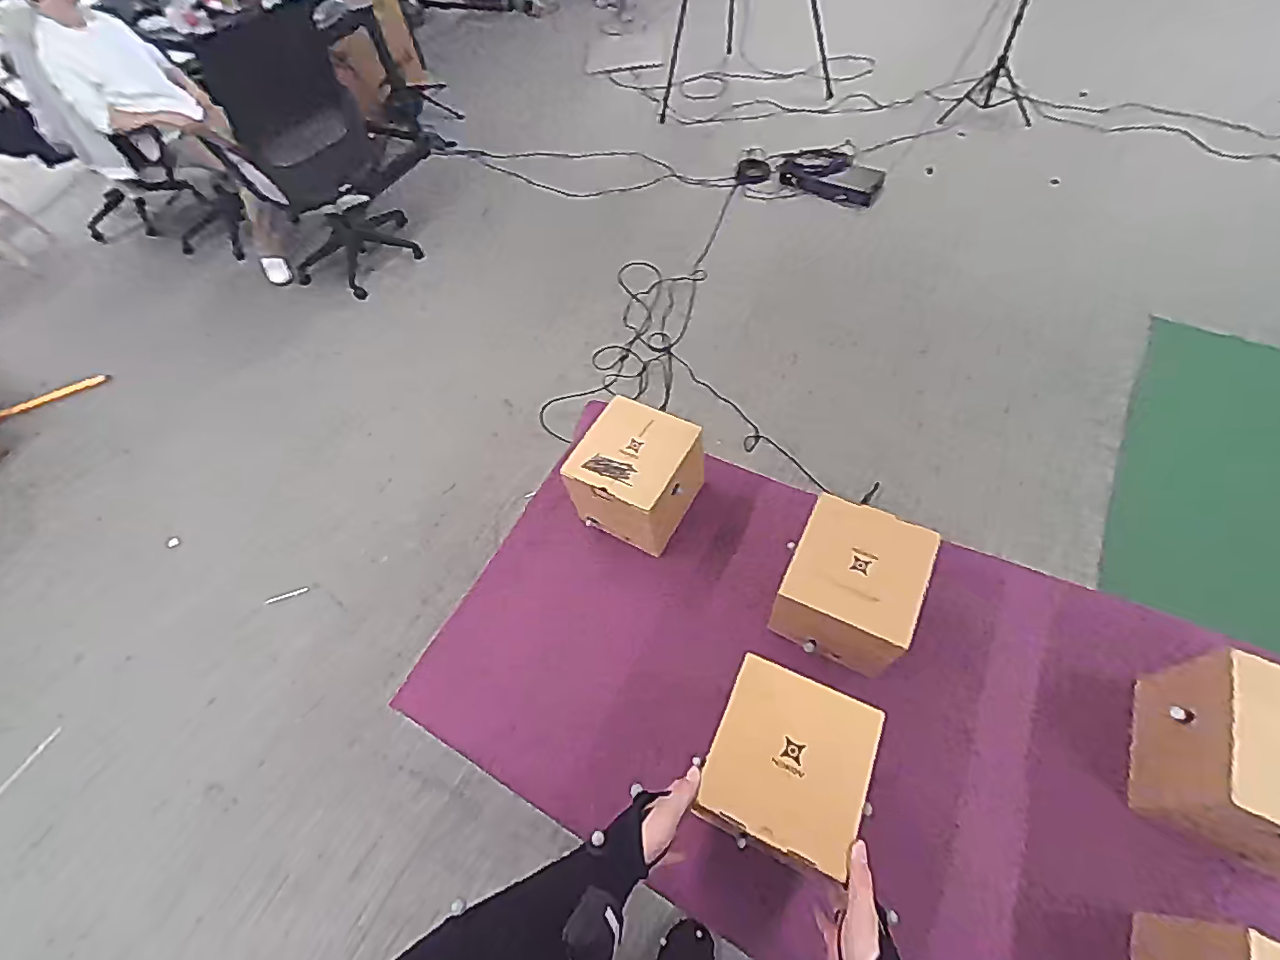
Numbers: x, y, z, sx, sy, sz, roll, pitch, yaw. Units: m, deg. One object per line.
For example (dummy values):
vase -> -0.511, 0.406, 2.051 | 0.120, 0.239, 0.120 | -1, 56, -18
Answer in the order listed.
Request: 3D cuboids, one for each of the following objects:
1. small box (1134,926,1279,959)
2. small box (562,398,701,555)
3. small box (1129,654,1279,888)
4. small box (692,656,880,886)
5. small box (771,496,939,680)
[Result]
small box -> 0.582, 0.547, 0.484 | 0.168, 0.176, 0.179 | 23, 61, 22
small box -> -0.003, 0.000, 0.920 | 0.168, 0.176, 0.179 | 25, 64, 20
small box -> 0.704, 0.334, 0.614 | 0.168, 0.176, 0.179 | 21, 61, 21
small box -> 0.167, 0.348, 0.658 | 0.168, 0.176, 0.179 | 20, 61, 17
small box -> 0.299, 0.159, 0.783 | 0.168, 0.176, 0.179 | 22, 63, 21
